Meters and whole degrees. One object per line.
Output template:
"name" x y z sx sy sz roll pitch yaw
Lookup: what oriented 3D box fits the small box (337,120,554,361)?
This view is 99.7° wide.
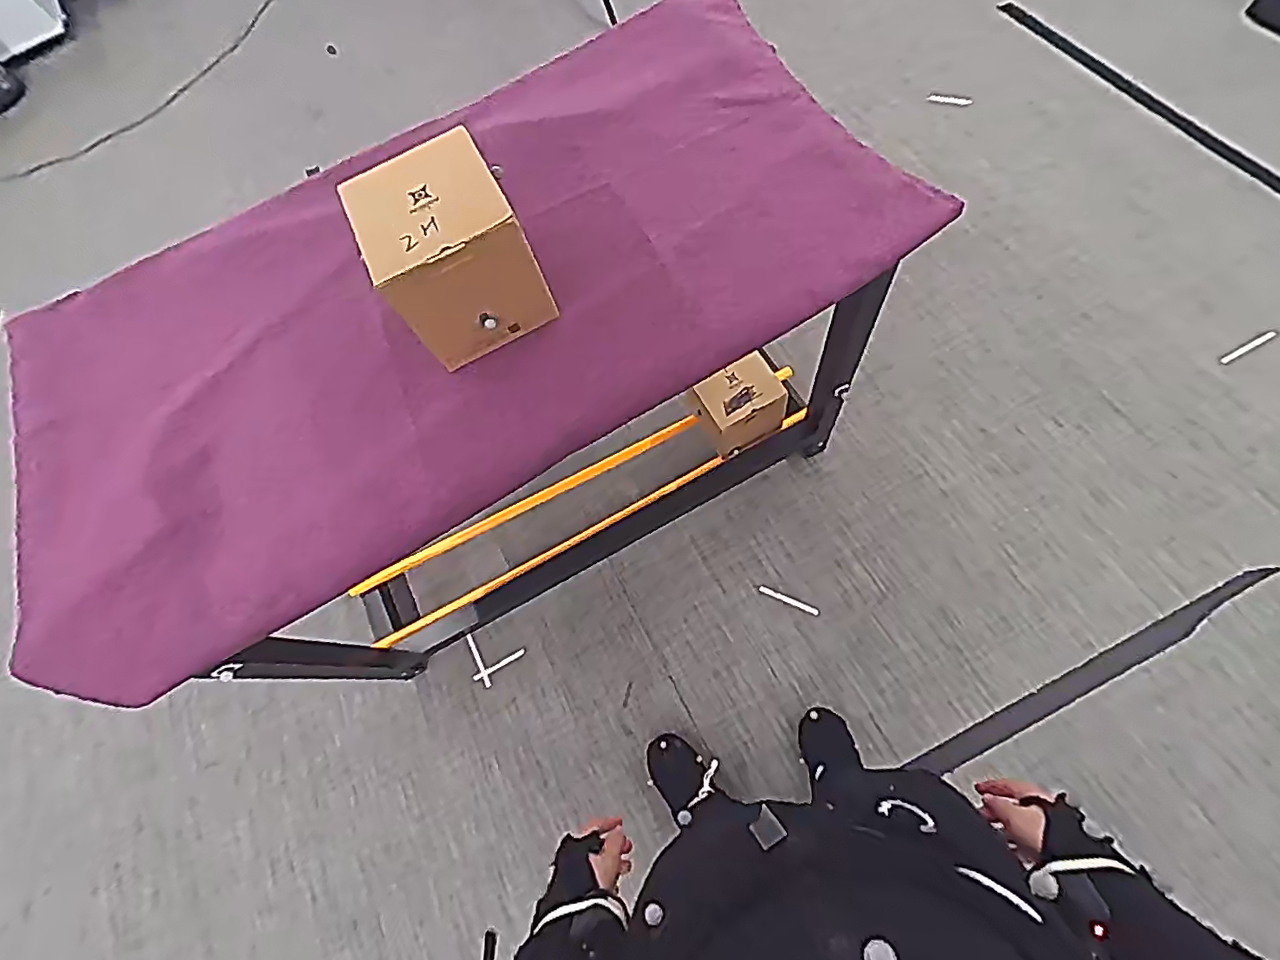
"small box" -0.228 -0.282 0.663 0.168 0.176 0.179 -28 68 -2

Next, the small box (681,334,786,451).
"small box" 0.210 -0.185 1.222 0.168 0.176 0.179 -28 67 -2
